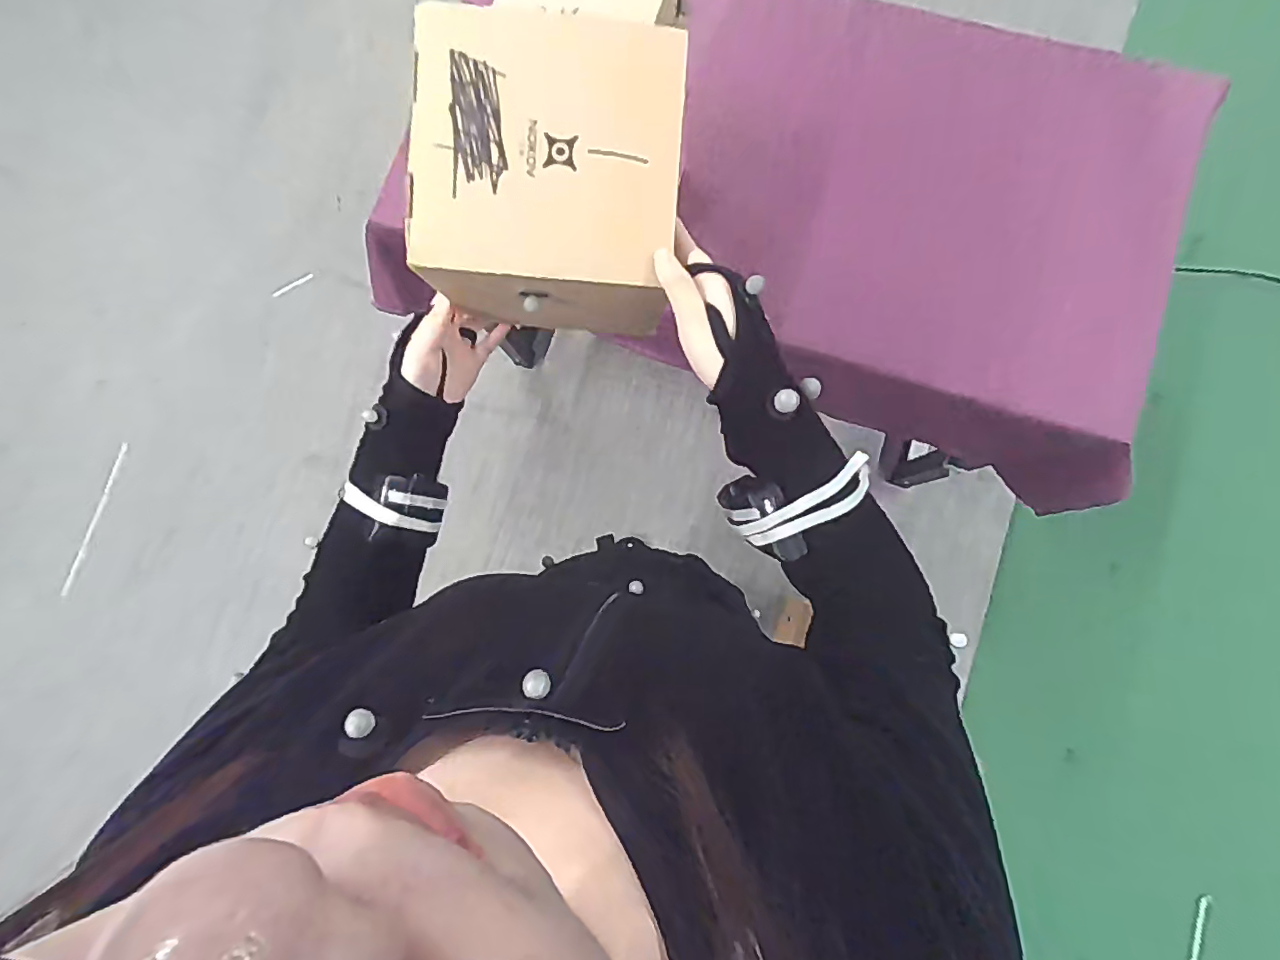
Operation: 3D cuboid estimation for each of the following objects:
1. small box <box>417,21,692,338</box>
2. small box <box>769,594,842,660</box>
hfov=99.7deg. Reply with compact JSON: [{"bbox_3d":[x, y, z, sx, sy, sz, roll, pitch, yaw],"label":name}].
[{"bbox_3d":[-0.061,-0.216,0.439,0.179,0.176,0.168,3,94,-4],"label":"small box"},{"bbox_3d":[0.450,0.400,1.388,0.179,0.176,0.168,22,85,5],"label":"small box"}]
